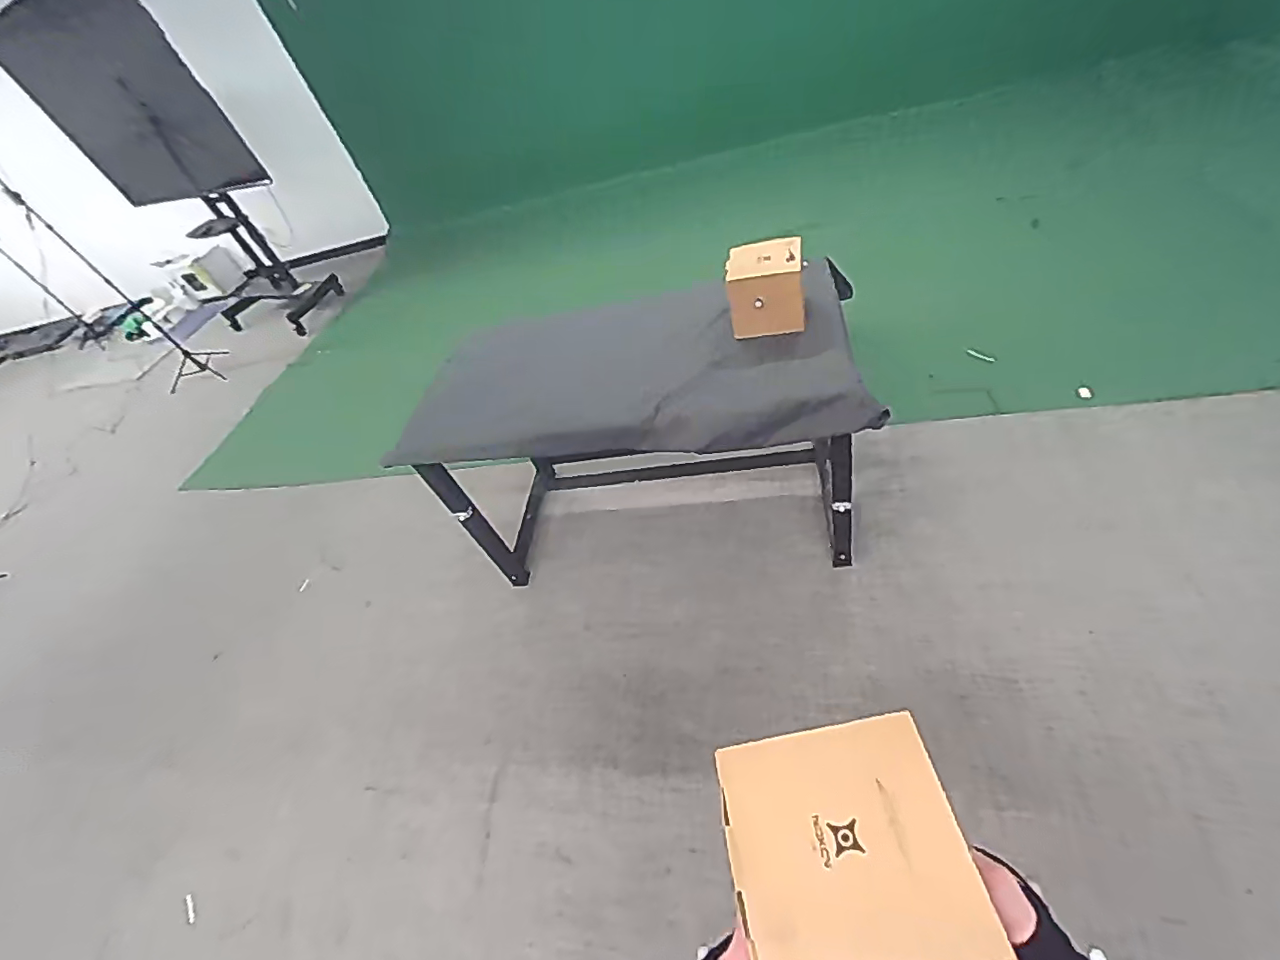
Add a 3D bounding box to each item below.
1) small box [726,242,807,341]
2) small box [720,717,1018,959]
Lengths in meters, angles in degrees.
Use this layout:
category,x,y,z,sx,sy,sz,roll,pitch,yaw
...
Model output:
category,x,y,z,sx,sy,sz,roll,pitch,yaw
small box,0.327,-0.472,1.373,0.179,0.176,0.168,-3,49,20
small box,0.185,0.335,0.476,0.179,0.176,0.168,-16,46,8
